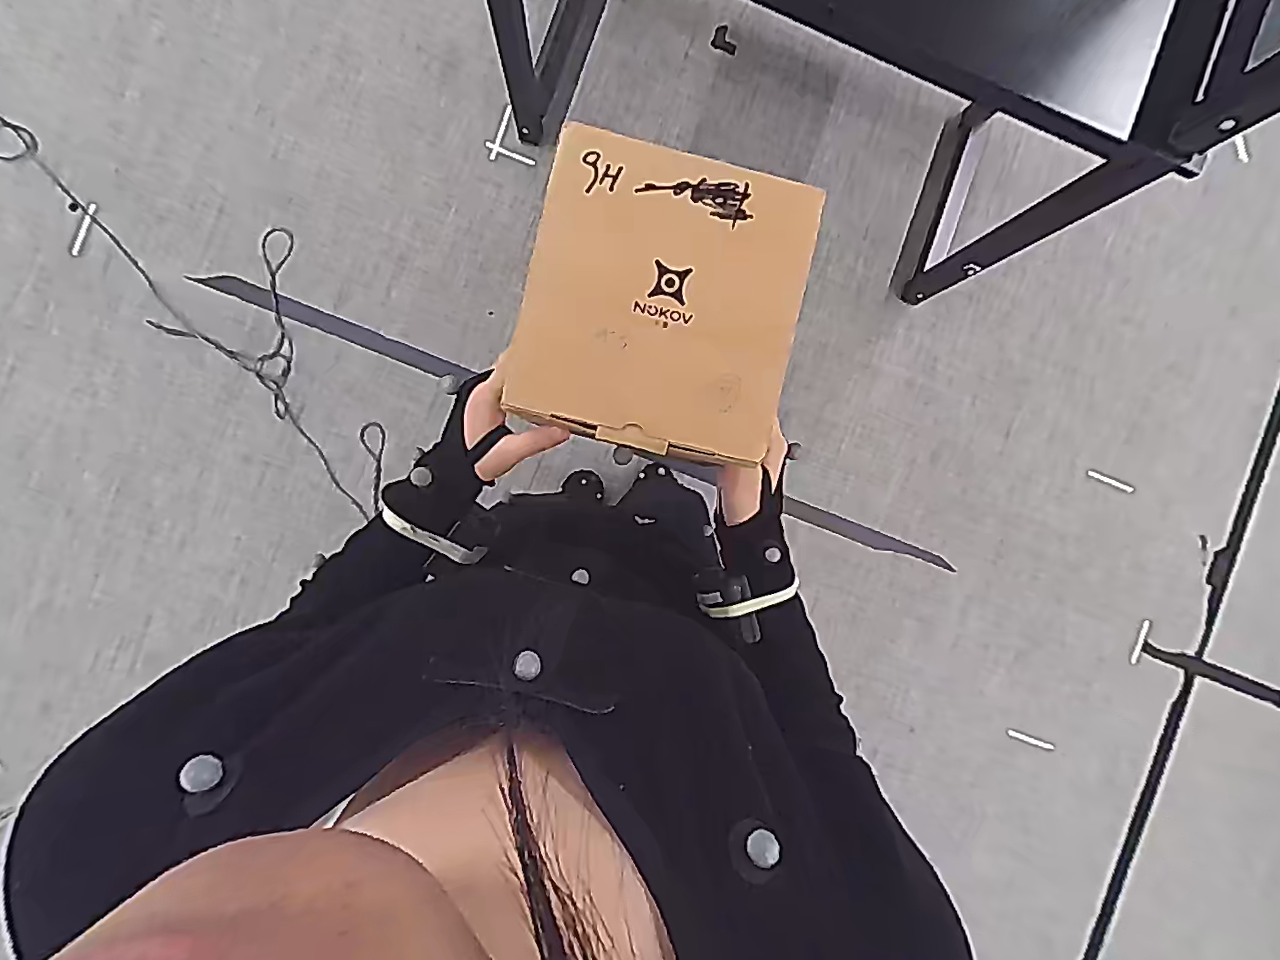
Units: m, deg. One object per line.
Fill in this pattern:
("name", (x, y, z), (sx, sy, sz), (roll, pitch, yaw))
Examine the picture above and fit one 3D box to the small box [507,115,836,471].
("small box", (0.014, -0.112, 0.399), (0.168, 0.176, 0.179), (13, 92, -5))
